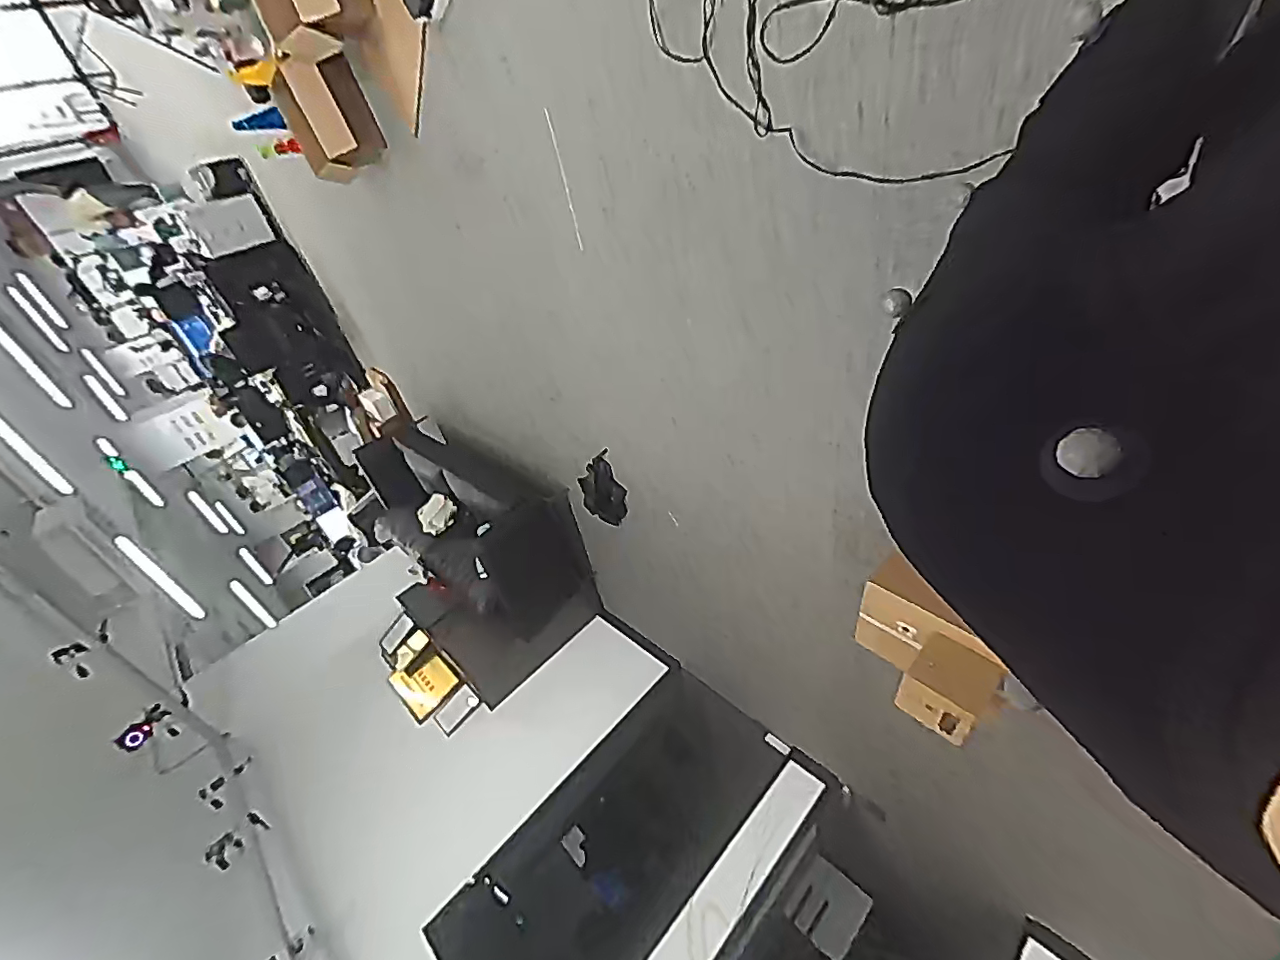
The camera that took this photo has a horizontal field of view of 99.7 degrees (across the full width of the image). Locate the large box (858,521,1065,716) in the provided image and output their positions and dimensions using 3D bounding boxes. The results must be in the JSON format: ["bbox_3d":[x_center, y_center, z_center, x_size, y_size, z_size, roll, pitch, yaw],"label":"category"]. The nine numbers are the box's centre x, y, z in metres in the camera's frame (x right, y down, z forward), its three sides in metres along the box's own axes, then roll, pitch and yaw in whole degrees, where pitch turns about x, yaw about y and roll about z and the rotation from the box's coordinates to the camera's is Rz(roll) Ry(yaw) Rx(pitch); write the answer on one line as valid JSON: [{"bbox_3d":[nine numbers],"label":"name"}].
[{"bbox_3d":[0.924,0.391,1.592,0.408,0.320,0.320,30,143,37],"label":"large box"}]
